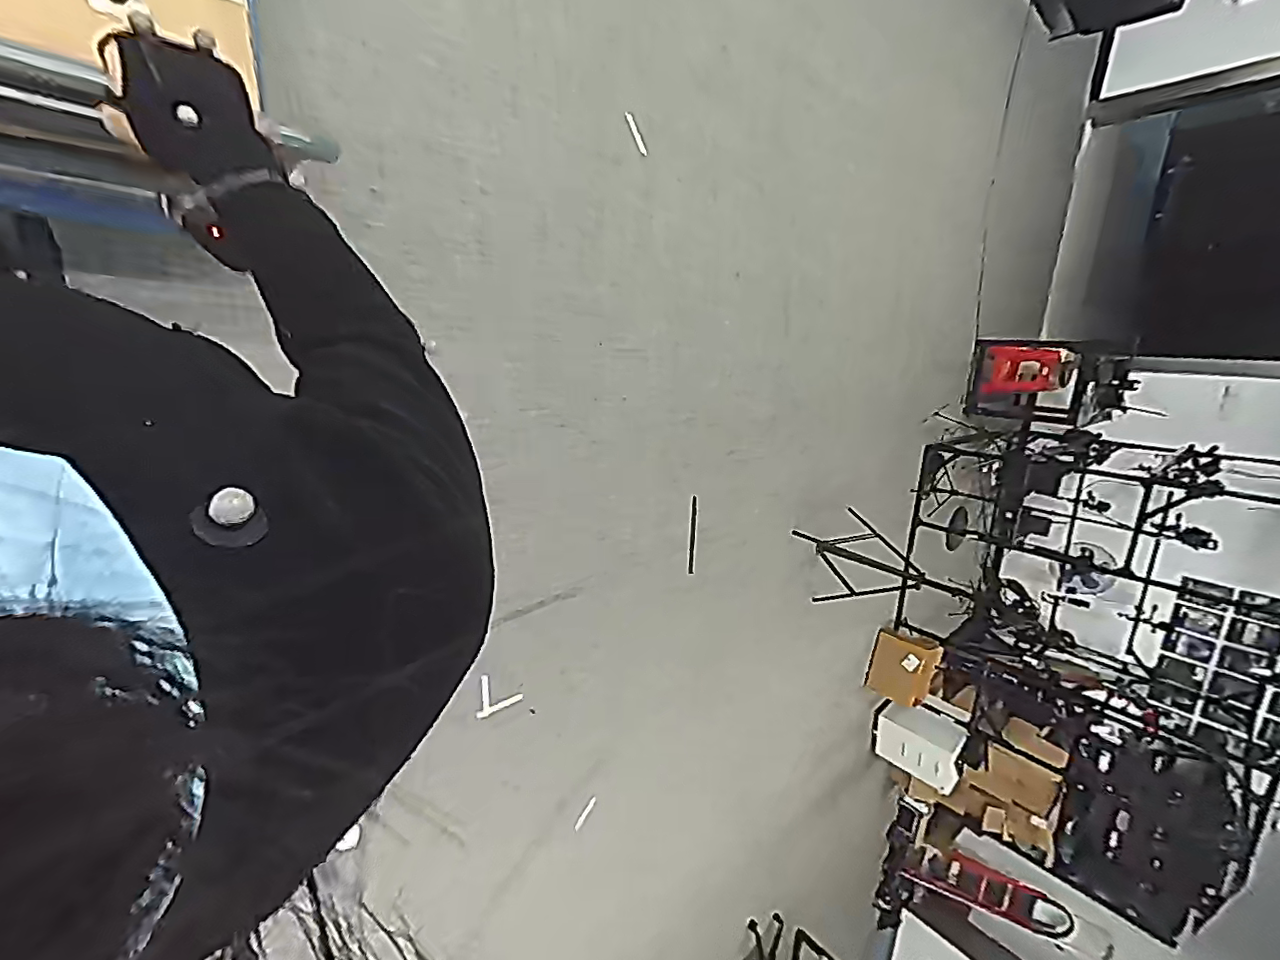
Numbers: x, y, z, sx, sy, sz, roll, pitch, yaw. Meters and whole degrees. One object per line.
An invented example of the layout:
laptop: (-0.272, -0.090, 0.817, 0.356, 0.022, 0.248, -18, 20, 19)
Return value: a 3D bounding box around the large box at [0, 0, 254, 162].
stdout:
large box: (-0.809, -0.666, 0.722, 0.408, 0.320, 0.320, -13, 111, -42)
